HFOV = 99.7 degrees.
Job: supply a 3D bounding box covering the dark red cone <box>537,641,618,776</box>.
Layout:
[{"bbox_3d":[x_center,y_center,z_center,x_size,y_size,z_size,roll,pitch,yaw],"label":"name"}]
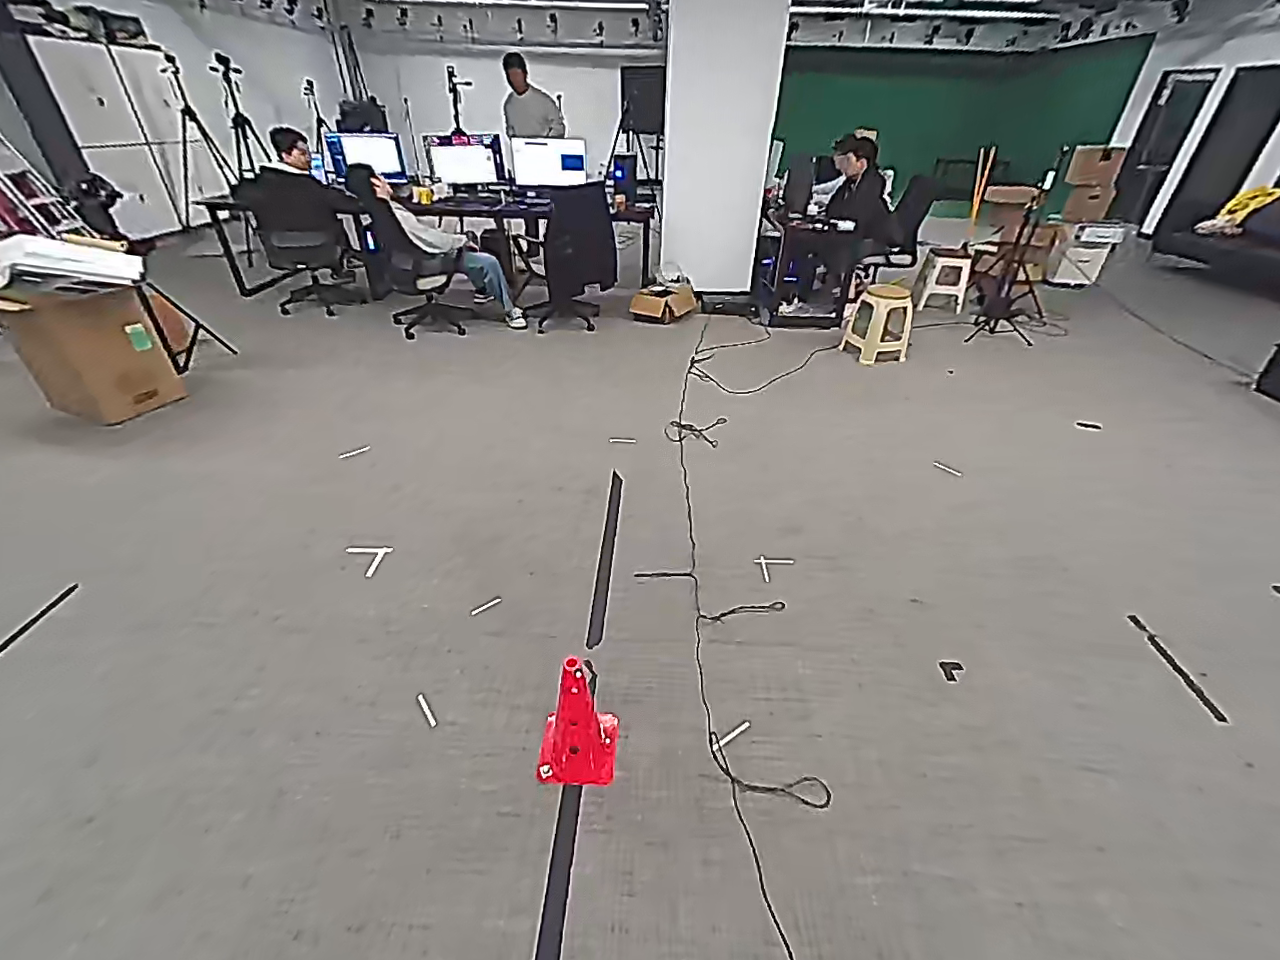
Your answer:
[{"bbox_3d":[-0.155,0.548,1.345,0.201,0.394,0.202,3,34,0],"label":"dark red cone"}]
